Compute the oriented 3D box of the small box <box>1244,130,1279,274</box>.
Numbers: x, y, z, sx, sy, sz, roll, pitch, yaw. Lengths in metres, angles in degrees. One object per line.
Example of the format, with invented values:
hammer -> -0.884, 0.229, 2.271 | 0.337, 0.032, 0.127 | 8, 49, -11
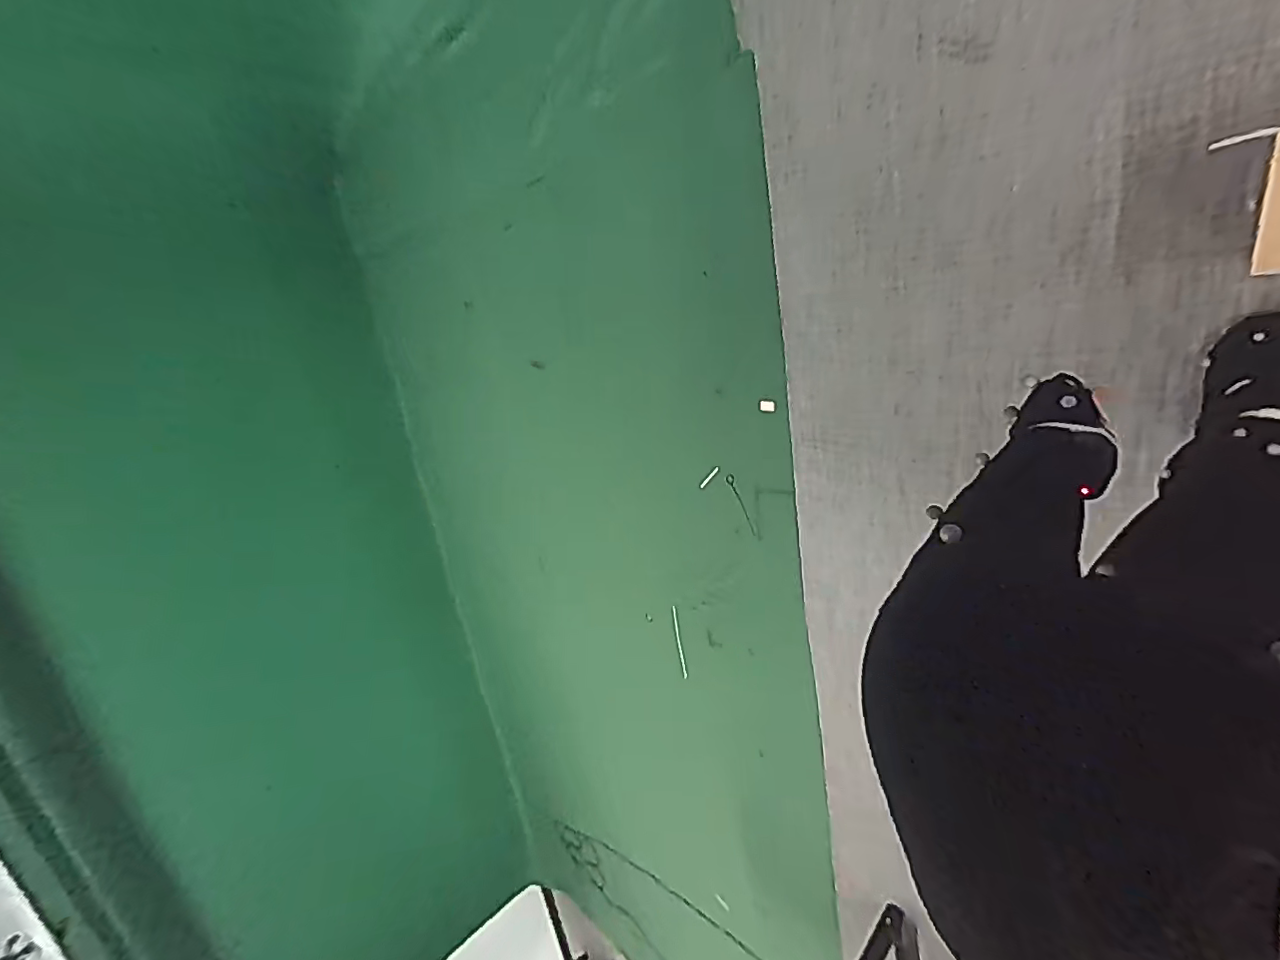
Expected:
small box -> 0.877, -0.348, 0.651 | 0.179, 0.176, 0.168 | 12, 118, 46
